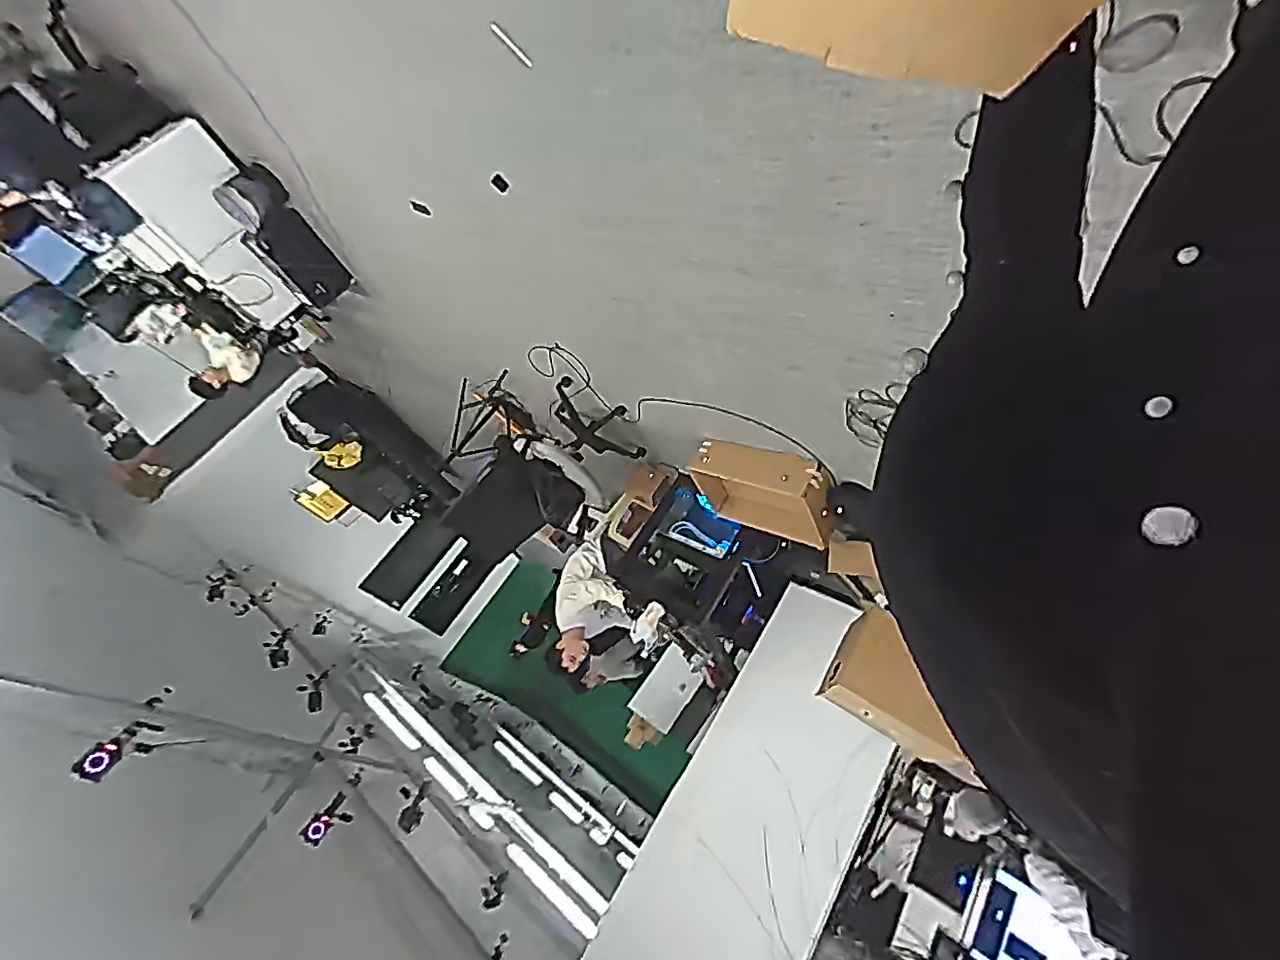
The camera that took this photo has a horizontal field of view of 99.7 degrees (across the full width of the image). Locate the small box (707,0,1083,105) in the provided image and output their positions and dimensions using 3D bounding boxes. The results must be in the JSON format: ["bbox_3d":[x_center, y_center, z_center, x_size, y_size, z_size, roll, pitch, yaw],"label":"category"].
[{"bbox_3d":[0.129,-0.301,0.211,0.168,0.179,0.176,14,-177,1],"label":"small box"}]
